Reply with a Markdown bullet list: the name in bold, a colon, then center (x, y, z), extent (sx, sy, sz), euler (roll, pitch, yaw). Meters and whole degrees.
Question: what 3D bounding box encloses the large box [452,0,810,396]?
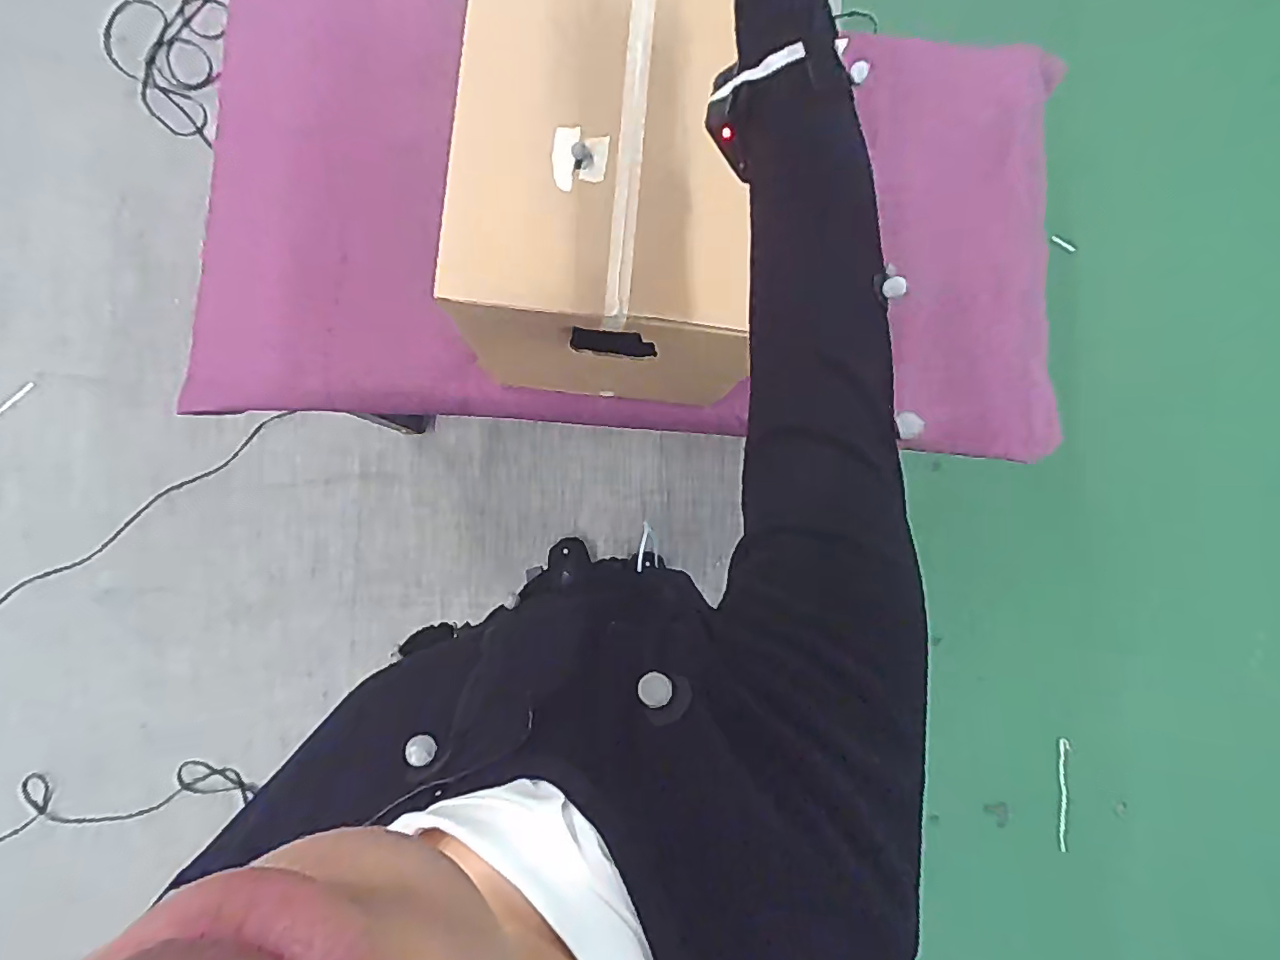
- **large box**: center (-0.014, -0.340, 0.647), extent (0.320, 0.320, 0.408), euler (6, 87, -4)
